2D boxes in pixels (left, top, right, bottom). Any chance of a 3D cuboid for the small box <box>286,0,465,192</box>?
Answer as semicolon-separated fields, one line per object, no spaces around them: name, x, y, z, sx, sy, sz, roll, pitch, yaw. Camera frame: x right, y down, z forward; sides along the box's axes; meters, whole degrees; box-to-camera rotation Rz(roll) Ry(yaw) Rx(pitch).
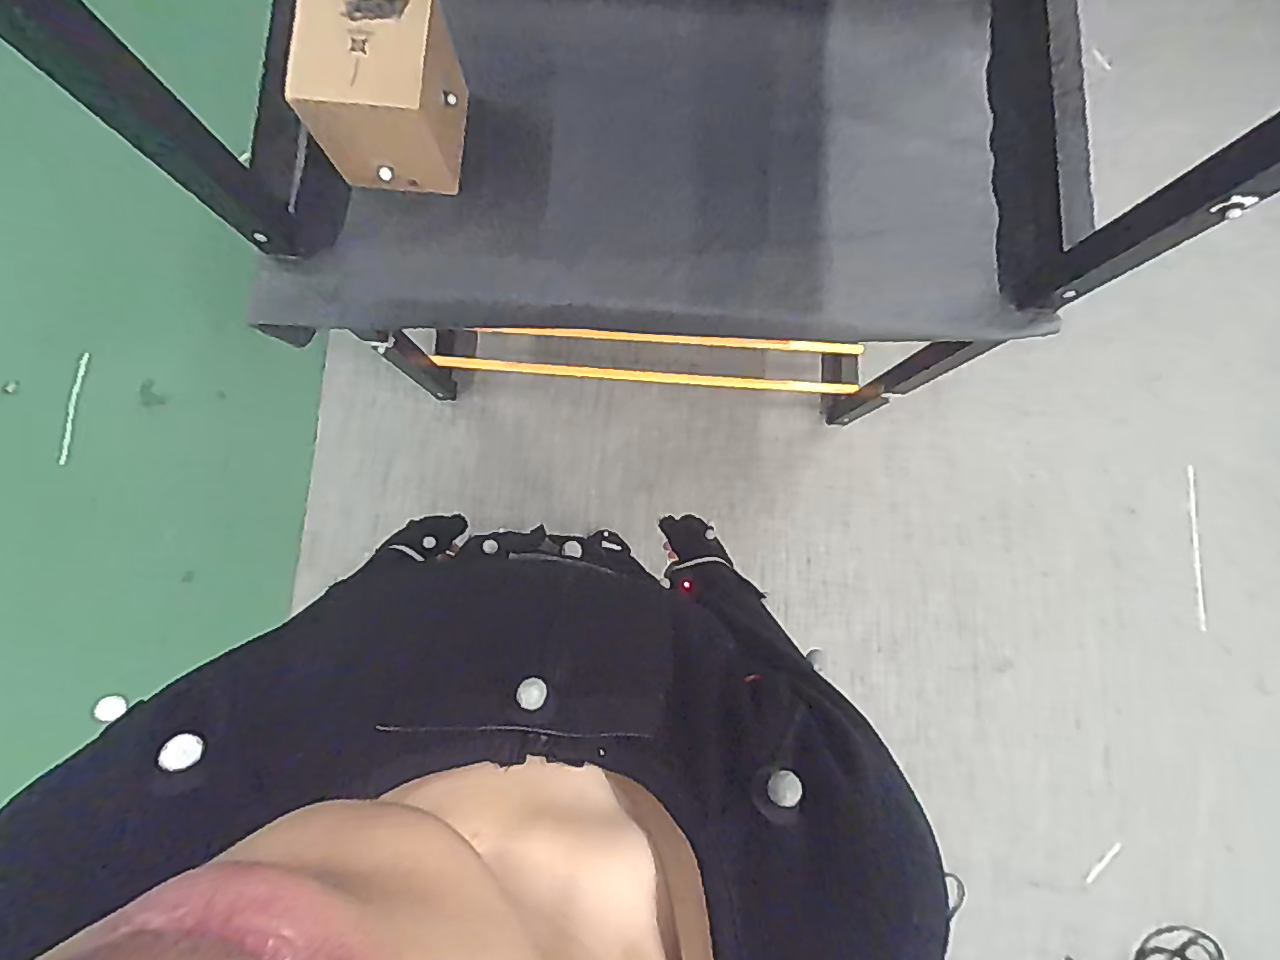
small box;-0.350;-0.540;0.751;0.168;0.176;0.179;3;83;-2
